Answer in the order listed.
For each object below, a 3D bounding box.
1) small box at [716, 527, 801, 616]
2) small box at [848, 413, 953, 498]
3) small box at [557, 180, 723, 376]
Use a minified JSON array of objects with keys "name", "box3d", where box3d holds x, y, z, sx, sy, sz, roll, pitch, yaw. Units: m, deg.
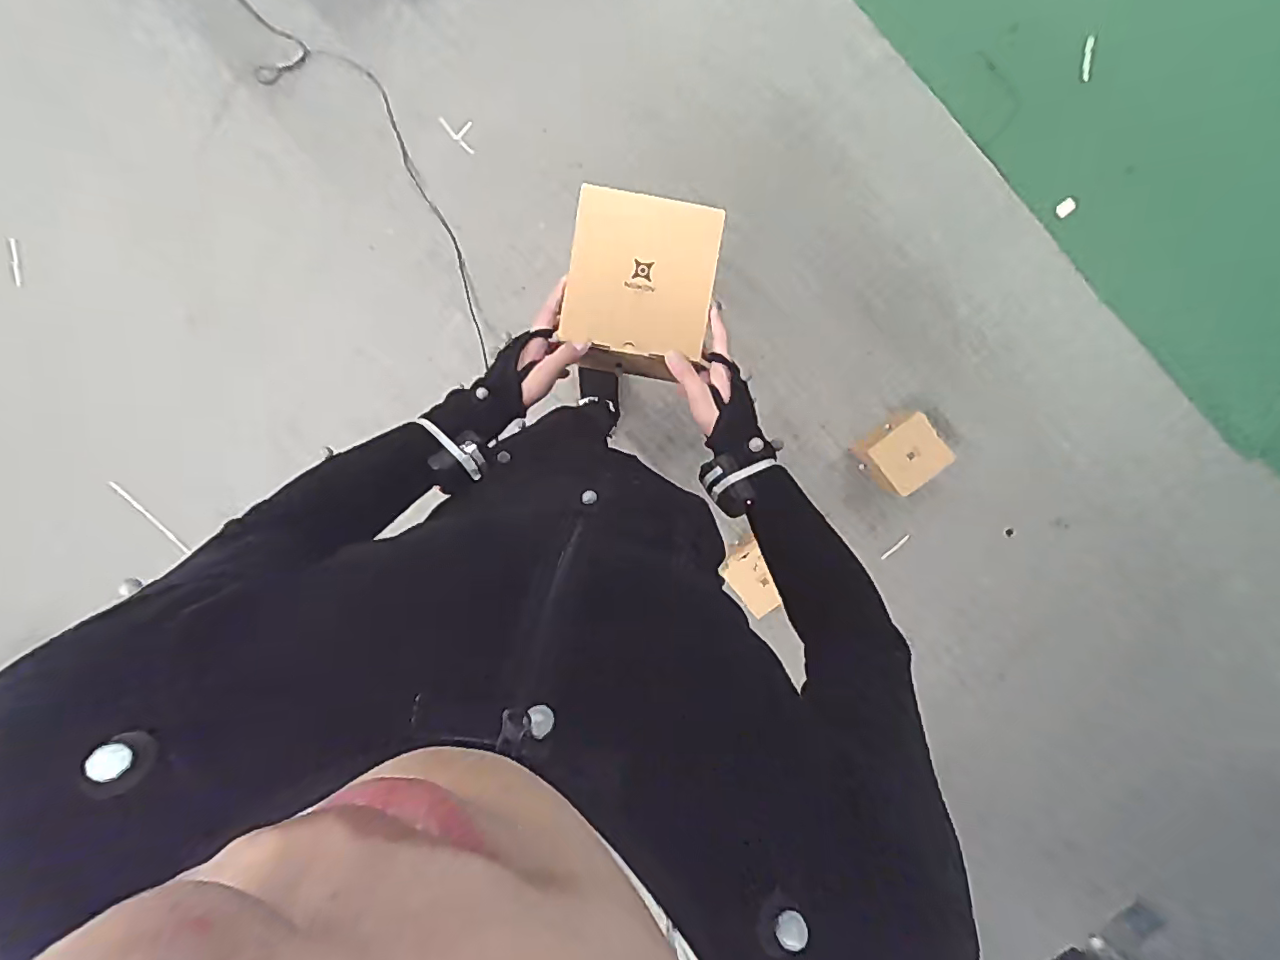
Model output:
[{"name":"small box","box3d":[0.337,0.259,1.571,0.168,0.176,0.179,-31,94,4]},{"name":"small box","box3d":[0.719,-0.076,1.512,0.179,0.176,0.168,-37,94,7]},{"name":"small box","box3d":[-0.004,-0.239,0.683,0.168,0.176,0.179,9,94,-3]}]
